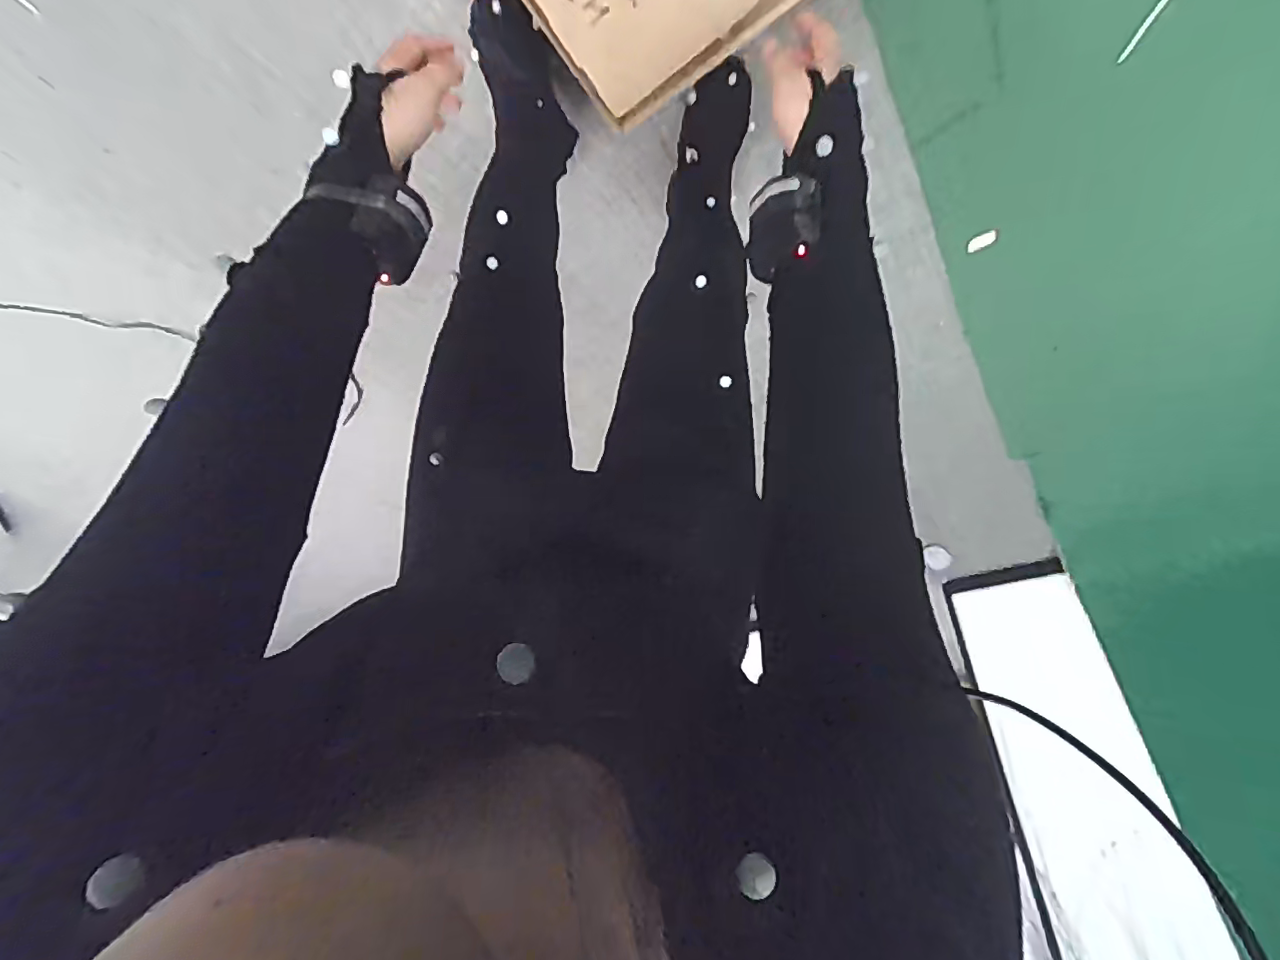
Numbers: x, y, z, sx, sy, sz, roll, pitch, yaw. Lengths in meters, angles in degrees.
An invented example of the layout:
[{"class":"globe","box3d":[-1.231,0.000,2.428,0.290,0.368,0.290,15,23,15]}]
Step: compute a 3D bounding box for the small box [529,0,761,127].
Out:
[{"class":"small box","box3d":[0.000,-0.513,0.537,0.179,0.176,0.168,-20,140,31]}]
